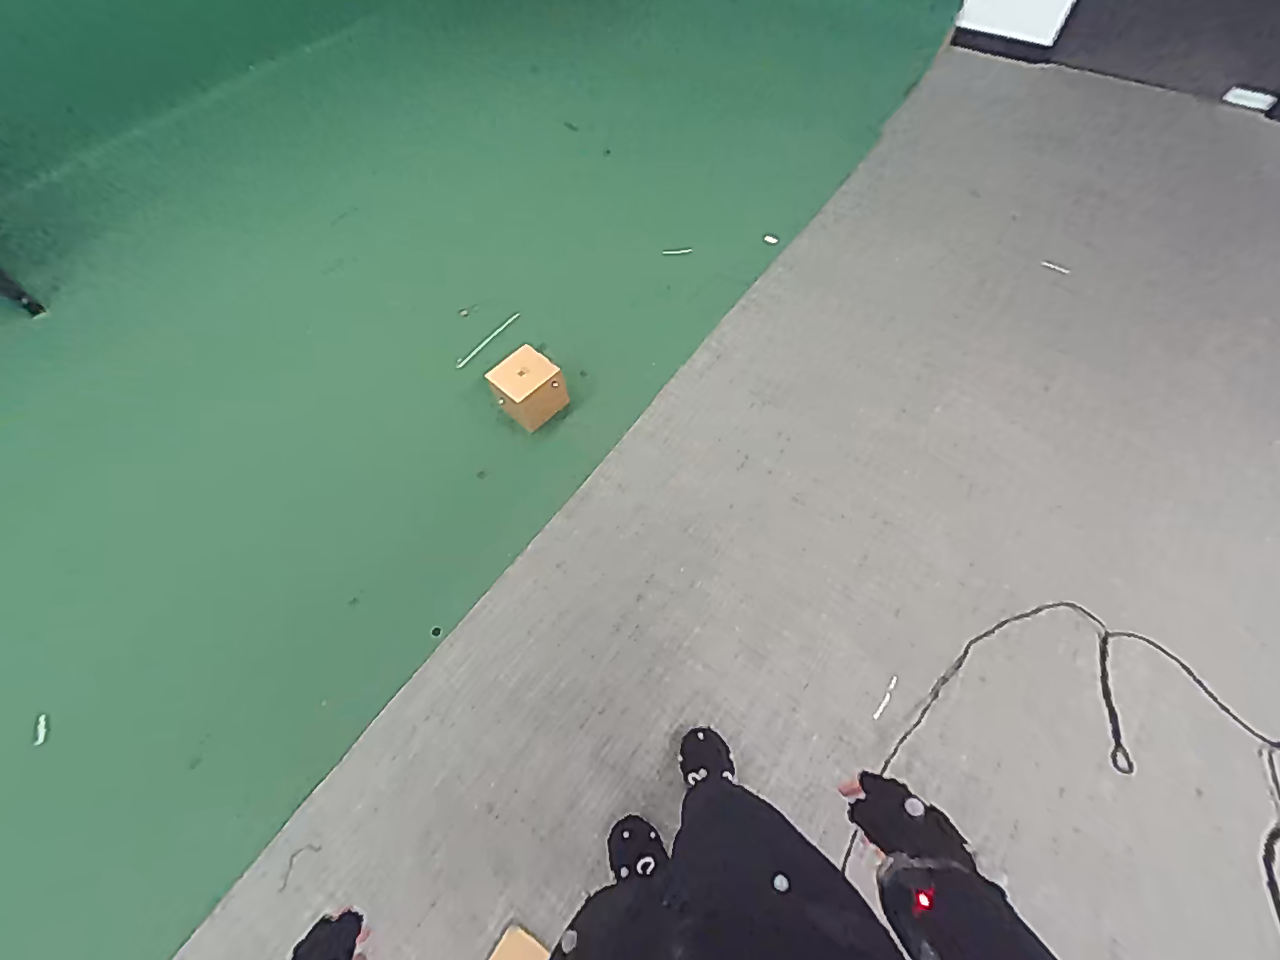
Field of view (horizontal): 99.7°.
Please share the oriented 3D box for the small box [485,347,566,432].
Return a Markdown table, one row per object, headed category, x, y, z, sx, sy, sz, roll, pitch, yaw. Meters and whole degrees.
| category | x | y | z | sx | sy | sz | roll | pitch | yaw |
| --- | --- | --- | --- | --- | --- | --- | --- | --- | --- |
| small box | -0.358 | -0.285 | 1.735 | 0.168 | 0.176 | 0.179 | 38 | 69 | 21 |
